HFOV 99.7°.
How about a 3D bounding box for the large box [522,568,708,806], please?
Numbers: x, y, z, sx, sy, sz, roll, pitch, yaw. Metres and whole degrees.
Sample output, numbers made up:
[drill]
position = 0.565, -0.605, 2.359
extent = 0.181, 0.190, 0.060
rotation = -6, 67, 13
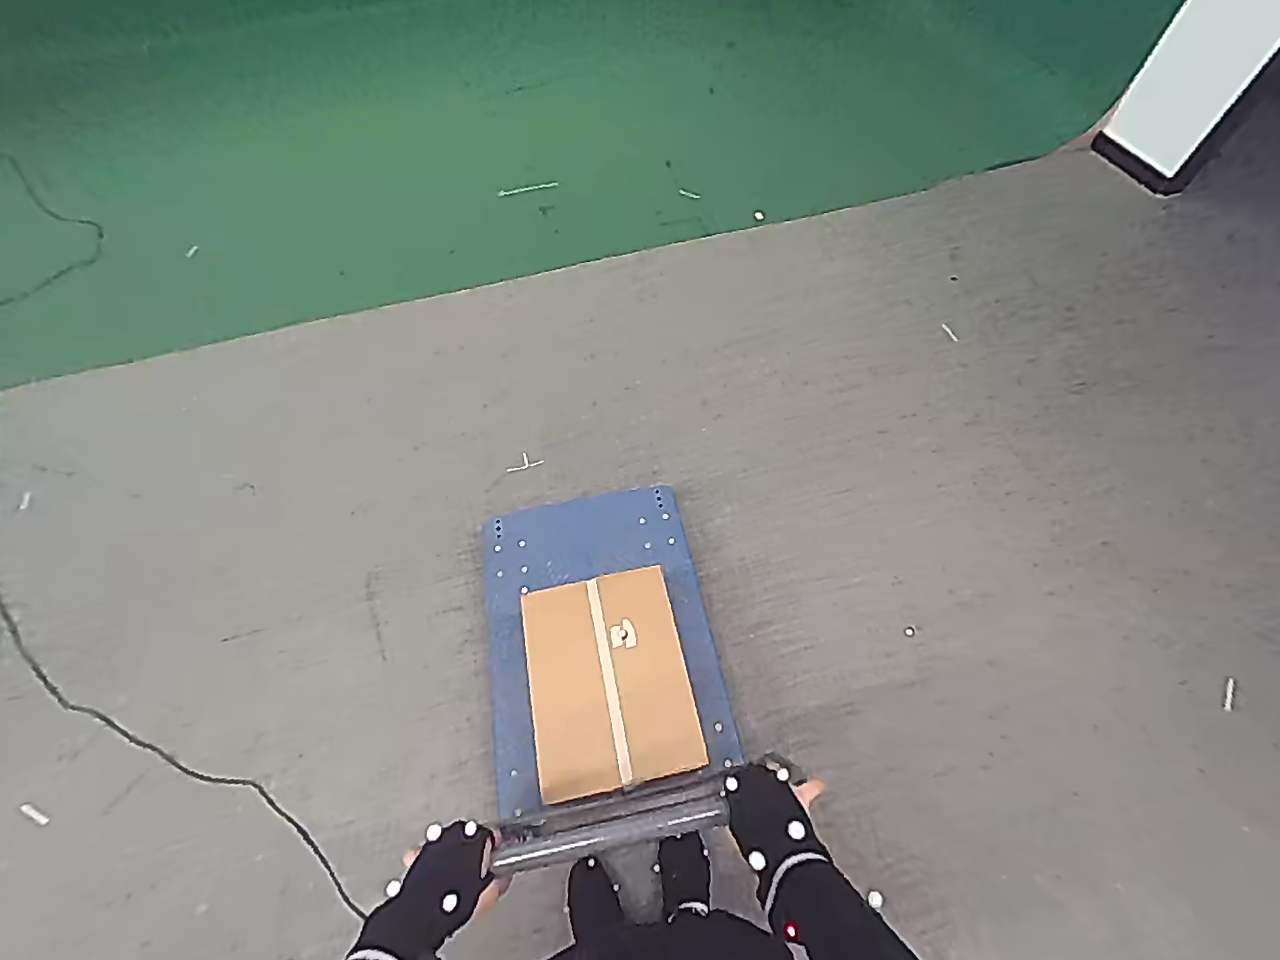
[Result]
[large box]
position = -0.059, 0.464, 1.209
extent = 0.320, 0.320, 0.408
rotation = -11, 59, -5
